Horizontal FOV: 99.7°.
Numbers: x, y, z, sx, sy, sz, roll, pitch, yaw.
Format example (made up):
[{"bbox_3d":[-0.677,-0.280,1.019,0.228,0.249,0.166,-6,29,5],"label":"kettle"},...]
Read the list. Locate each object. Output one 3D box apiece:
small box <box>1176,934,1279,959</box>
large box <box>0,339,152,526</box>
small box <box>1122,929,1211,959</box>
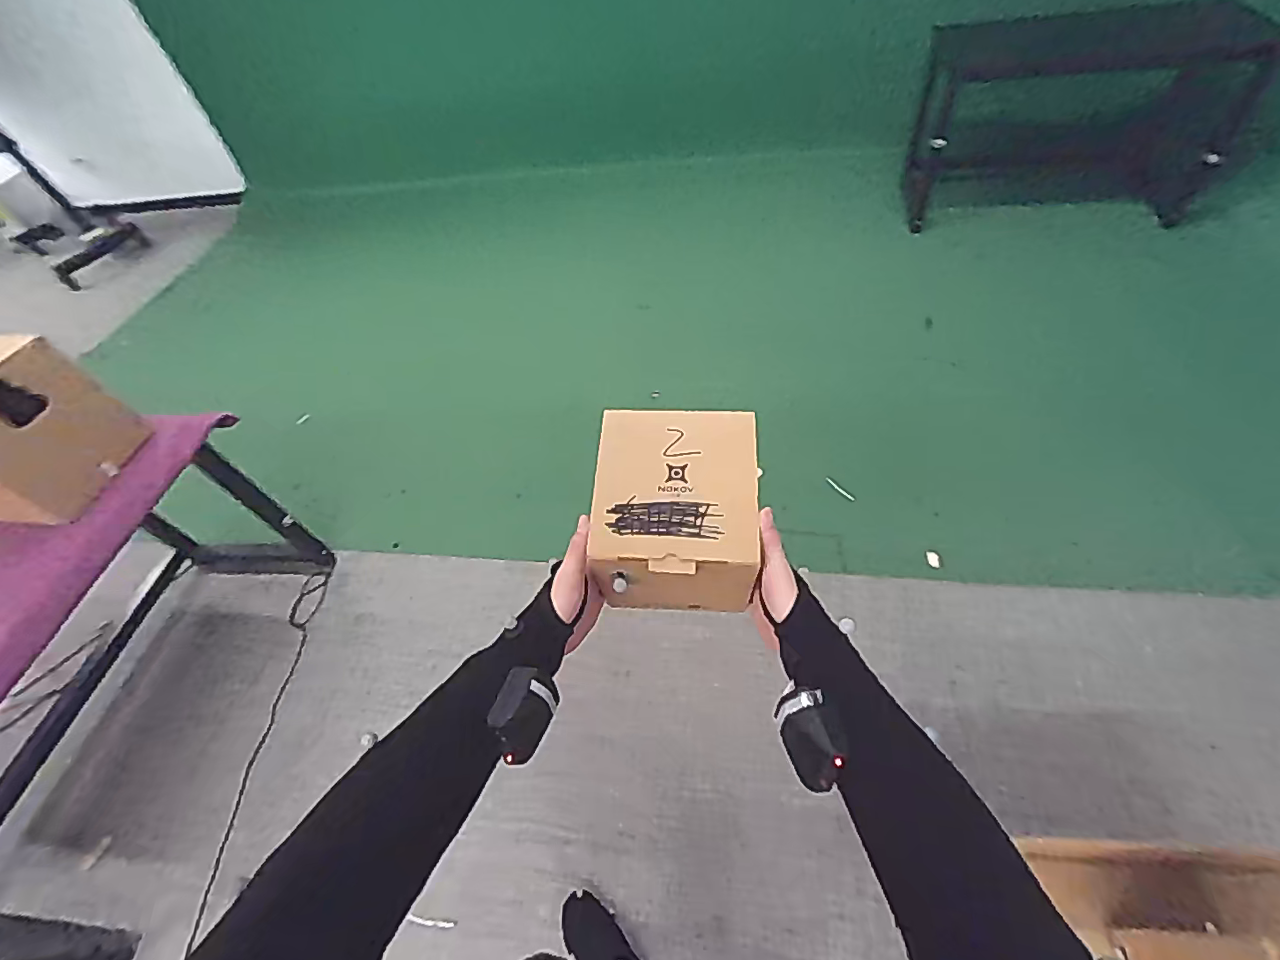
[{"bbox_3d":[0.780,0.621,0.601,0.179,0.176,0.168,-1,51,7],"label":"small box"},{"bbox_3d":[-1.510,-0.104,1.251,0.408,0.320,0.320,1,53,9],"label":"large box"},{"bbox_3d":[0.809,0.722,0.729,0.179,0.176,0.168,1,52,7],"label":"small box"}]
